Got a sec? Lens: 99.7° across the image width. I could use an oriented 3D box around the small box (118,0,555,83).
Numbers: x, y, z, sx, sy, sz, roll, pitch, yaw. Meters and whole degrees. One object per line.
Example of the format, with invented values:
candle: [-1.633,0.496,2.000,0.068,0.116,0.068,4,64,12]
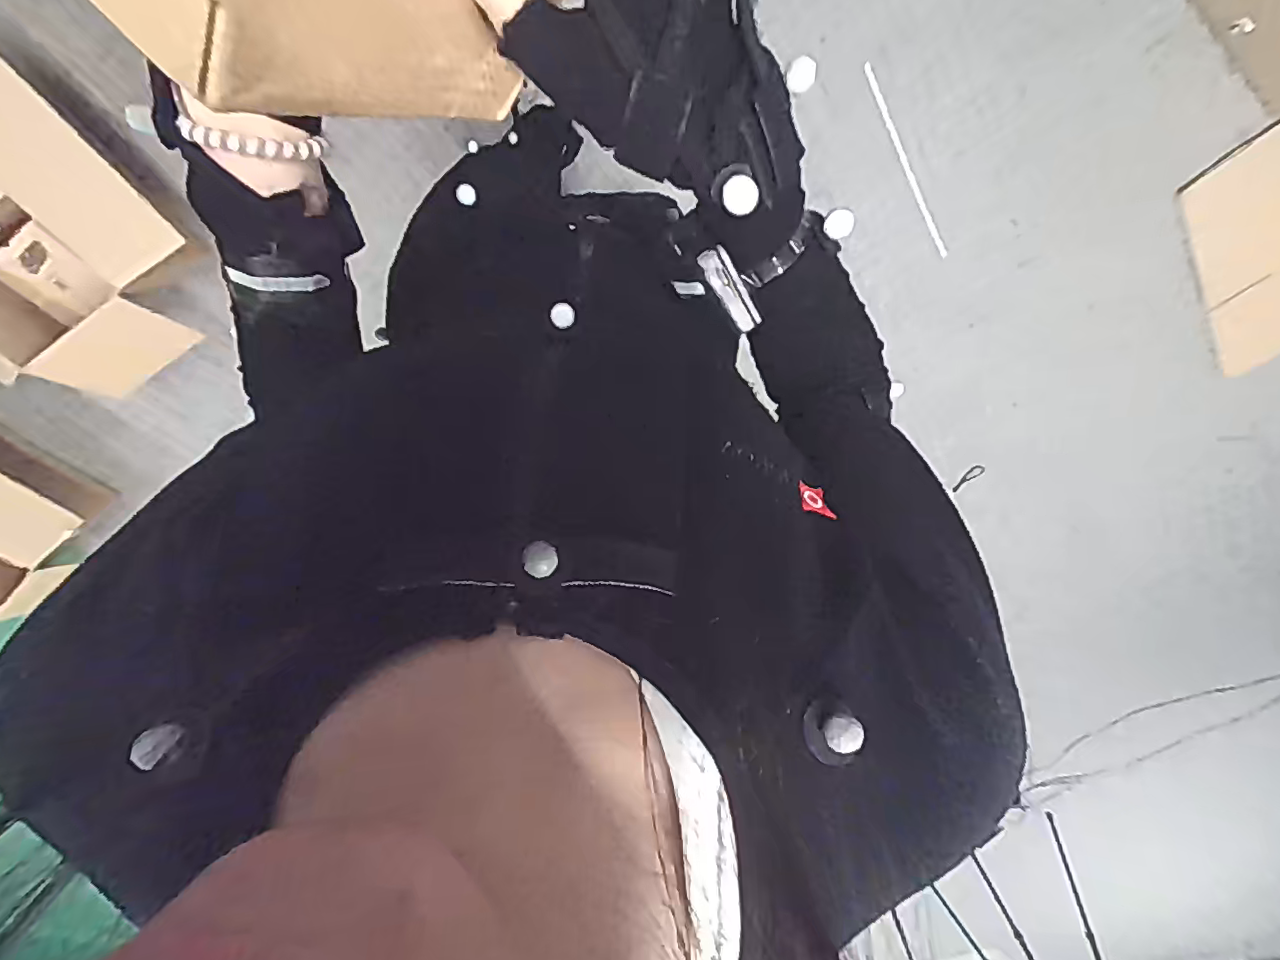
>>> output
small box: [-0.113,-0.263,0.170,0.179,0.176,0.168,44,127,-9]
